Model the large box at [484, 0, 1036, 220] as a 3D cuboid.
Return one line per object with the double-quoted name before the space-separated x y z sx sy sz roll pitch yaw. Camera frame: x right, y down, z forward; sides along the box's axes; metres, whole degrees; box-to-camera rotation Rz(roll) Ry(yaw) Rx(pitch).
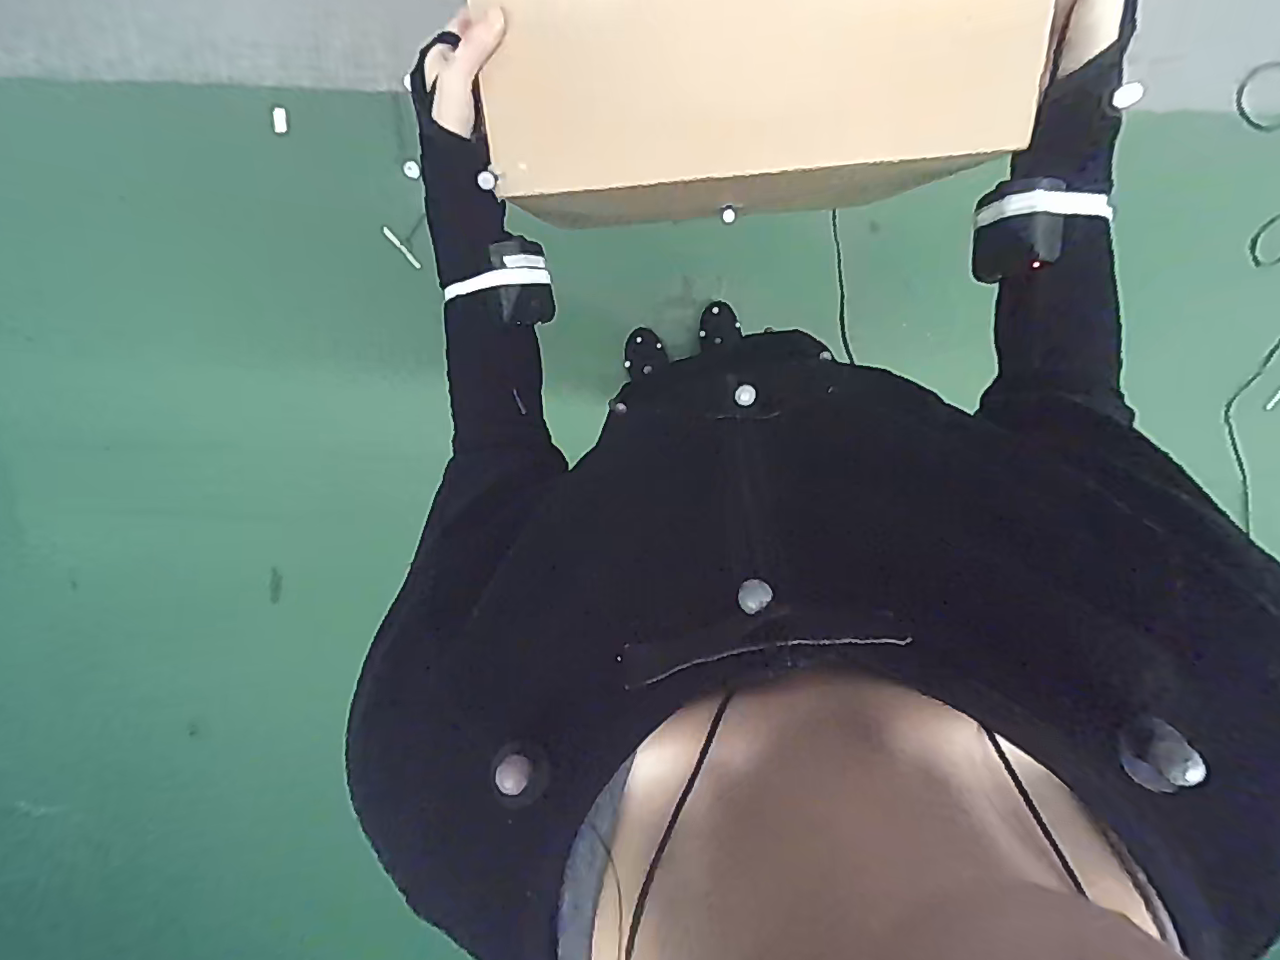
"large box" 0.087 -0.442 0.512 0.408 0.320 0.320 -3 110 3
